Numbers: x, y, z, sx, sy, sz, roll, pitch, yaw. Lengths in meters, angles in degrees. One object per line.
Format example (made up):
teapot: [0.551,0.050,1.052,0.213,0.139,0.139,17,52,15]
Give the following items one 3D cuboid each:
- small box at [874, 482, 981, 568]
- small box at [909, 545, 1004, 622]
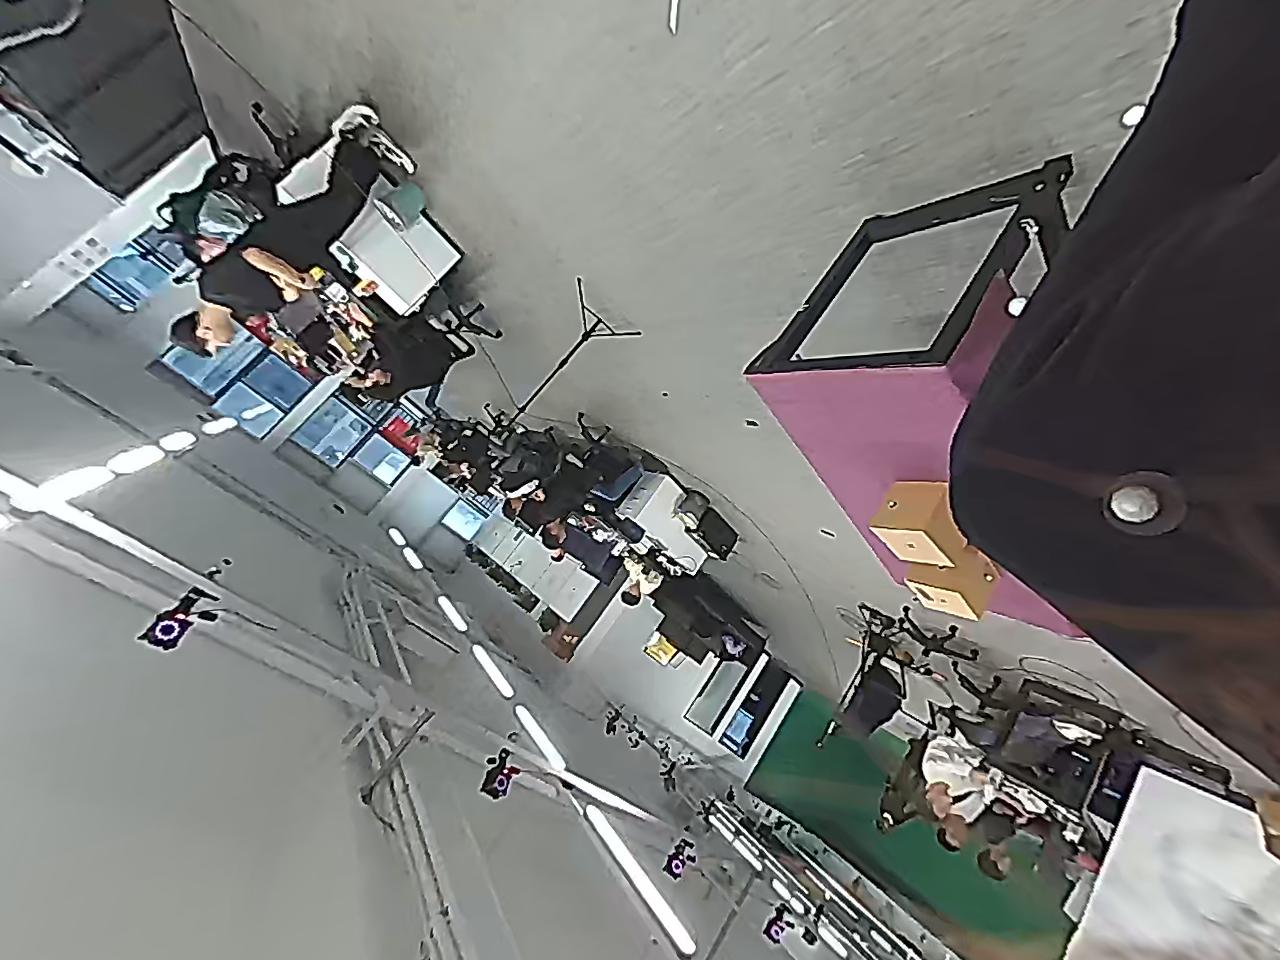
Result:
small box: [0.806,0.119,1.517,0.168,0.176,0.179,41,166,-19]
small box: [0.986,0.305,1.682,0.168,0.176,0.179,43,164,-25]
